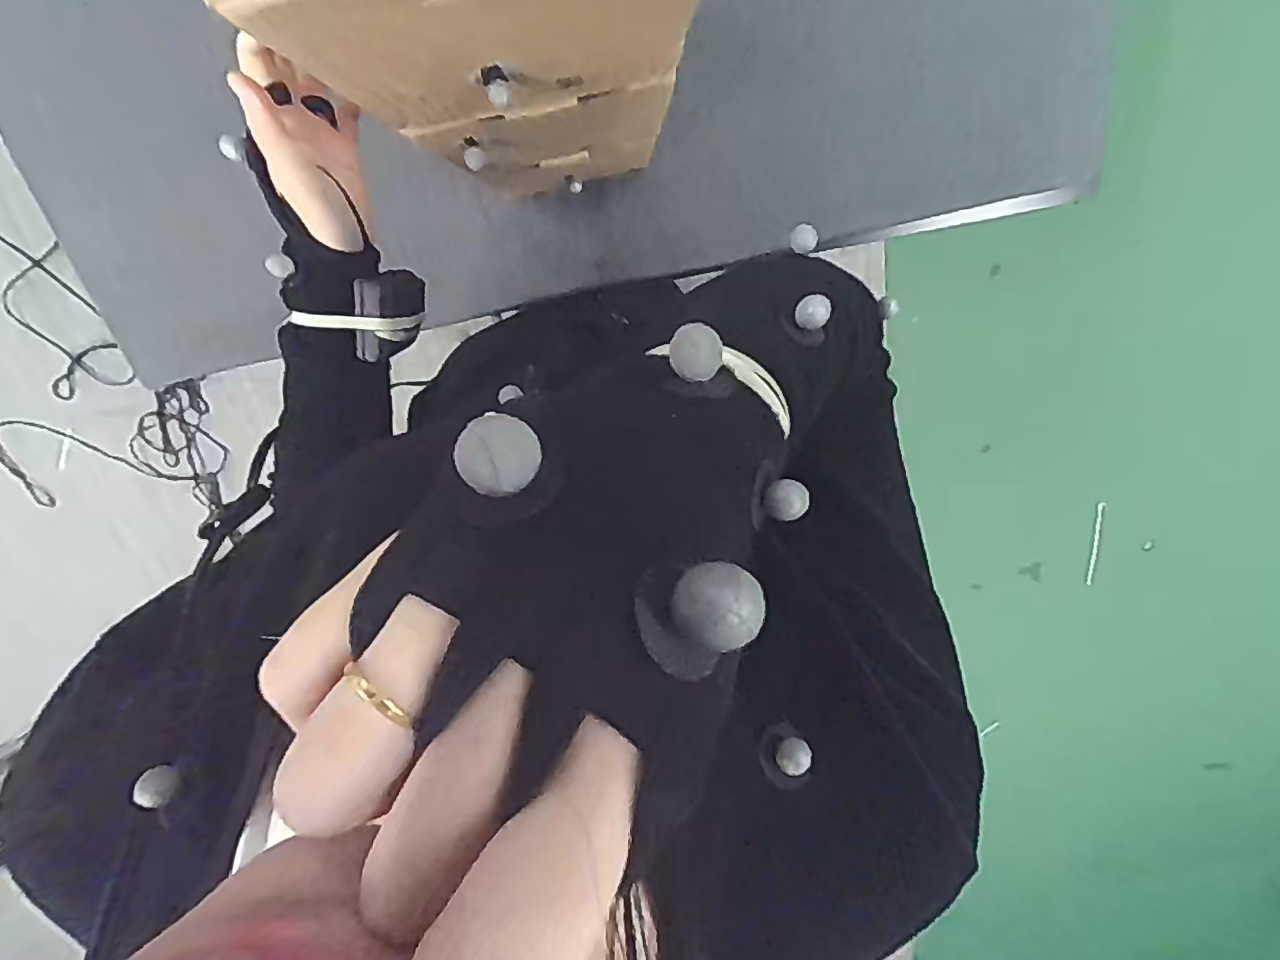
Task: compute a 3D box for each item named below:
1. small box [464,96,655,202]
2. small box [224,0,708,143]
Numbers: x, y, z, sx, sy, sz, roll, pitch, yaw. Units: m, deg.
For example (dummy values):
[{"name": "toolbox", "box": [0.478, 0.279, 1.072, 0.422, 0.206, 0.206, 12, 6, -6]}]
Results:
[{"name": "small box", "box": [-0.086, -0.384, 0.520, 0.168, 0.176, 0.179, -11, 113, 2]}, {"name": "small box", "box": [-0.071, -0.265, 0.216, 0.168, 0.176, 0.179, -12, 112, 1]}]
